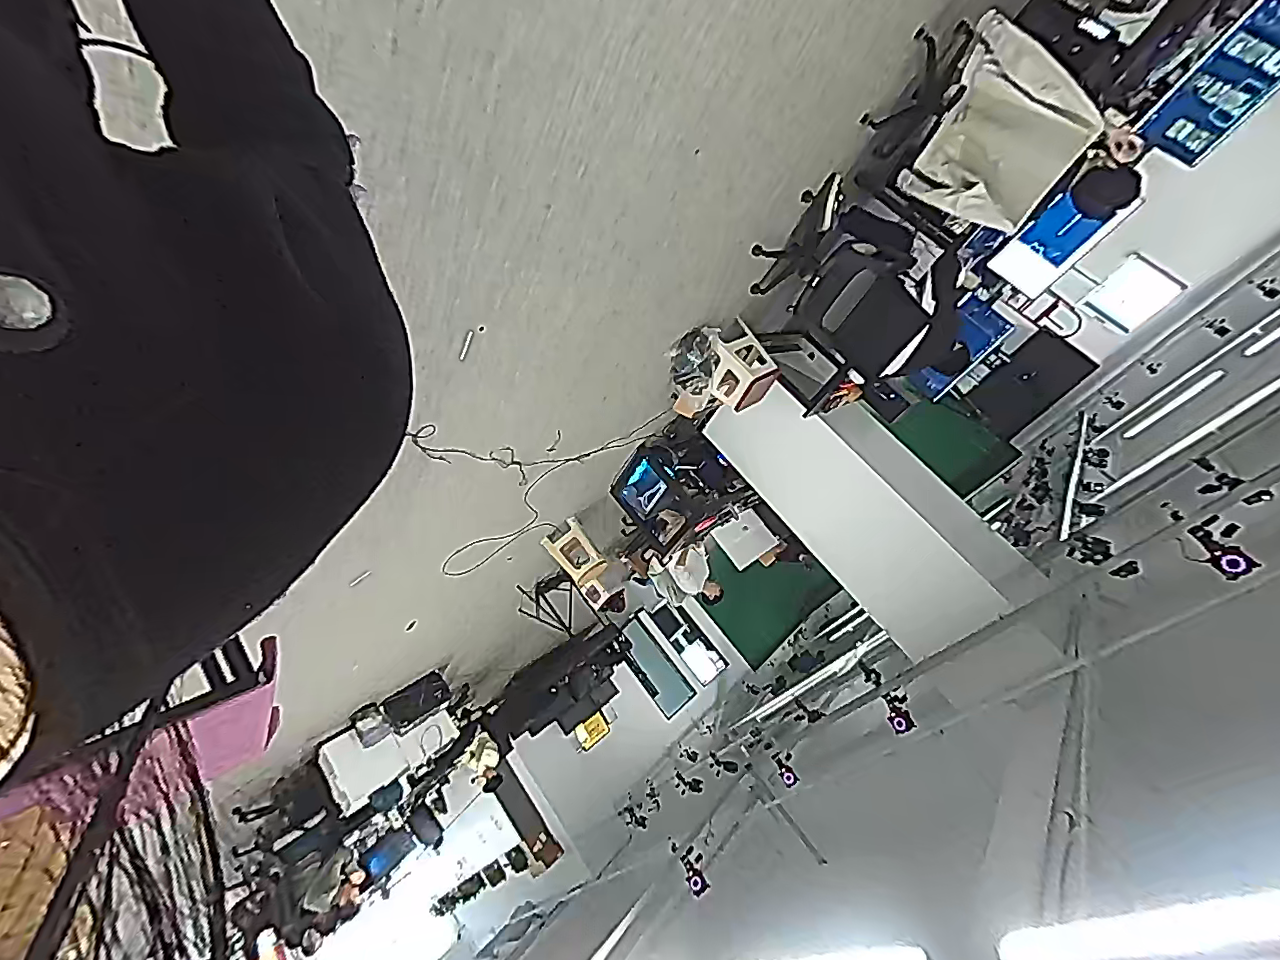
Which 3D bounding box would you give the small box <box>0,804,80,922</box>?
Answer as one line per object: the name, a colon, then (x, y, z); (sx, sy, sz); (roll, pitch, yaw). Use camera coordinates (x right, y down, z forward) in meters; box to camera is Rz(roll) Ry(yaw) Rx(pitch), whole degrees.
small box: (-1.472, 0.908, 1.279); (0.168, 0.176, 0.179); (-20, 155, -50)
